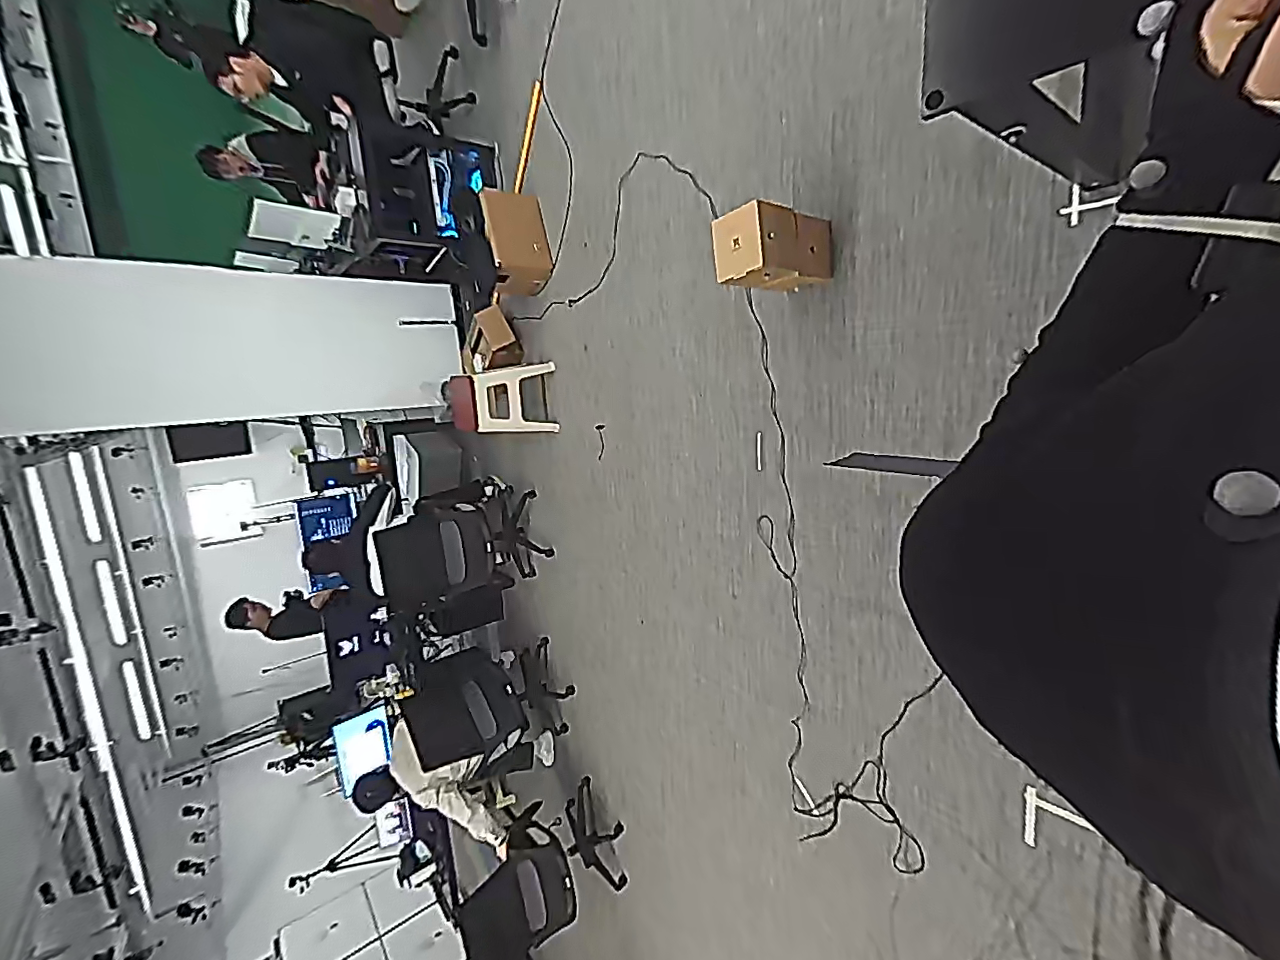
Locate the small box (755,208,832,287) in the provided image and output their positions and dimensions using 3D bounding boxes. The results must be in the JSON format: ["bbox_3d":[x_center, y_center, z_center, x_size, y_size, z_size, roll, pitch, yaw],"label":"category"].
[{"bbox_3d":[0.460,-0.689,1.623,0.168,0.176,0.179,5,104,52],"label":"small box"}]

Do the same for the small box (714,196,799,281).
[{"bbox_3d":[0.332,-0.669,1.525,0.168,0.176,0.179,0,98,51],"label":"small box"}]
